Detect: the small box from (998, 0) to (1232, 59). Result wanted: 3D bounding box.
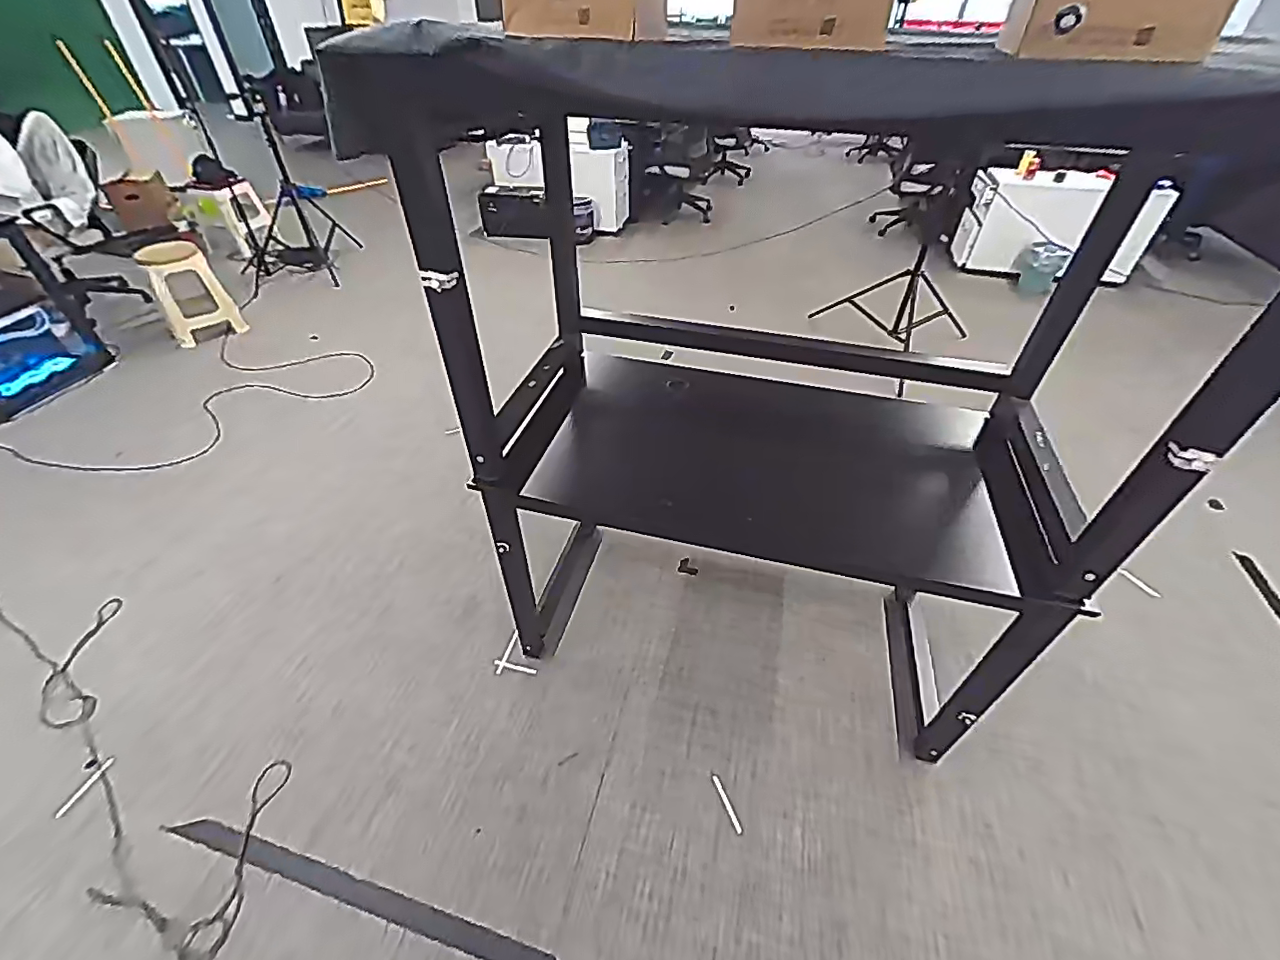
[{"bbox_3d":[0.495,-0.535,0.546,0.168,0.176,0.179,13,42,14],"label":"small box"}]

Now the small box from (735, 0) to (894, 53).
[{"bbox_3d":[0.205,-0.587,0.599,0.168,0.176,0.179,11,41,12],"label":"small box"}]

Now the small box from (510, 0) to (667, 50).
[{"bbox_3d":[-0.059,-0.635,0.650,0.168,0.176,0.179,11,42,9],"label":"small box"}]
